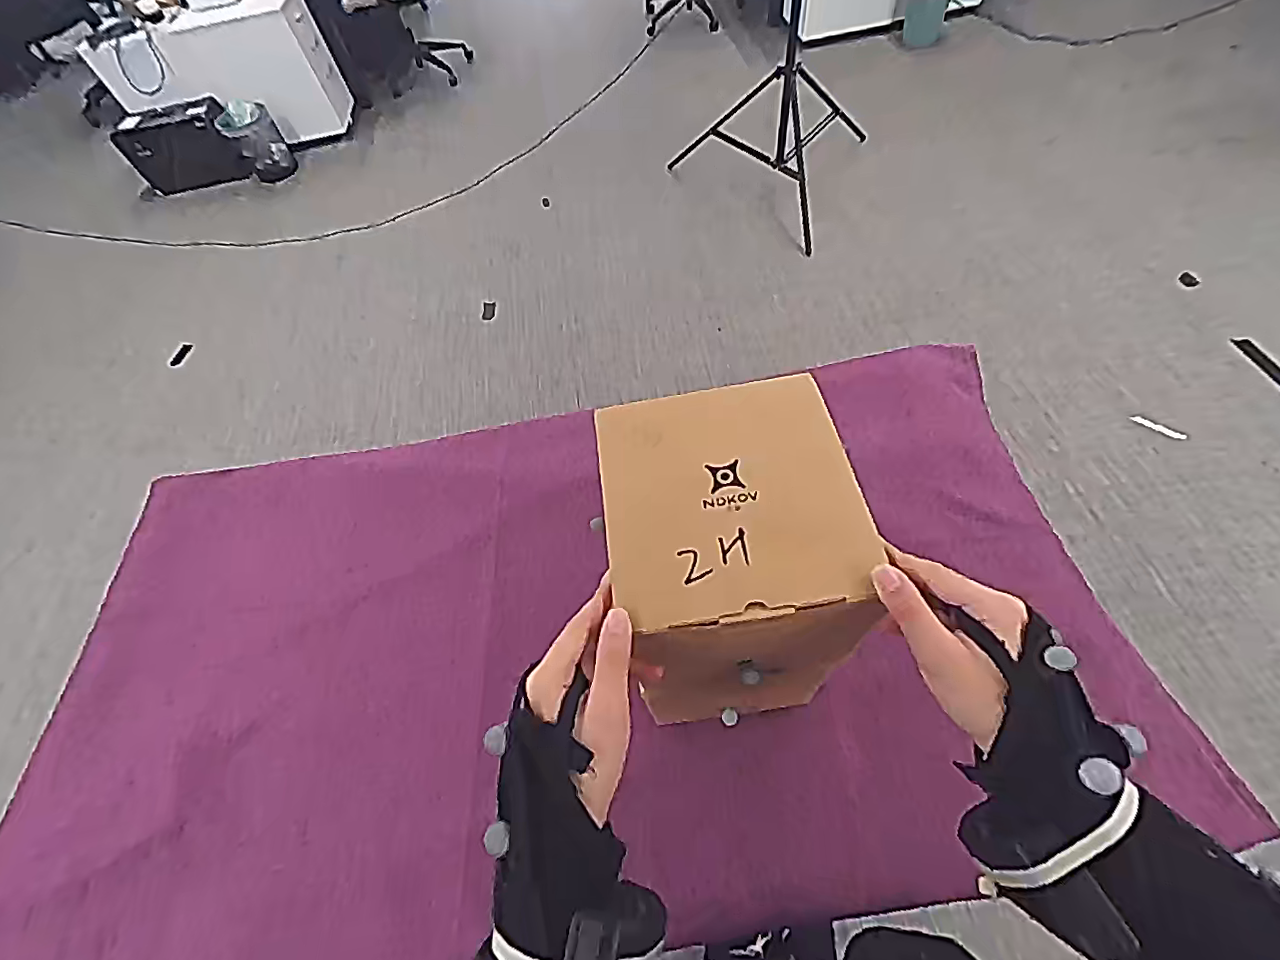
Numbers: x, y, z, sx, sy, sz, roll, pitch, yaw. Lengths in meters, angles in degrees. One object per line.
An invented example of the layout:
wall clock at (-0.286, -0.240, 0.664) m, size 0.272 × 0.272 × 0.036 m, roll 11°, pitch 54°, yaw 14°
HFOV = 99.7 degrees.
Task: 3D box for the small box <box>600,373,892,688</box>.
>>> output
small box at (0.066, 0.046, 0.426) m, size 0.168 × 0.176 × 0.179 m, roll -9°, pitch 56°, yaw 3°

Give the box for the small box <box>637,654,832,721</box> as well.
small box at (0.080, 0.136, 0.565) m, size 0.168 × 0.176 × 0.179 m, roll -9°, pitch 57°, yaw 2°
